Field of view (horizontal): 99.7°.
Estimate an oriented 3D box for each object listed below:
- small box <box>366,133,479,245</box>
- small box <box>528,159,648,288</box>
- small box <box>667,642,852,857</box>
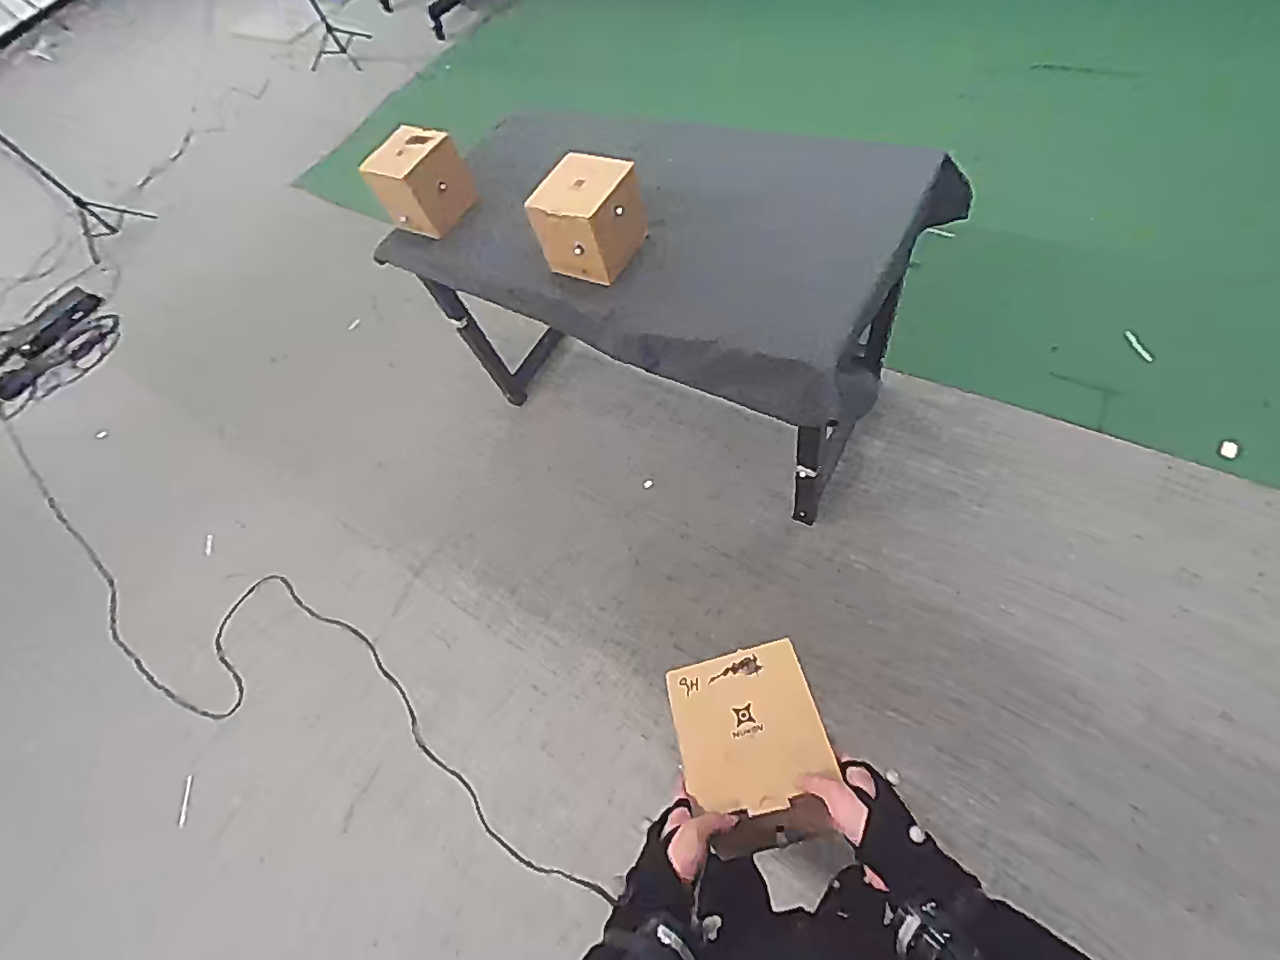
[{"bbox_3d":[-0.535,-0.731,1.362,0.168,0.176,0.179,24,70,25],"label":"small box"},{"bbox_3d":[-0.099,-0.539,1.146,0.168,0.176,0.179,23,68,23],"label":"small box"},{"bbox_3d":[0.145,0.331,0.655,0.168,0.176,0.179,-18,42,6],"label":"small box"}]
